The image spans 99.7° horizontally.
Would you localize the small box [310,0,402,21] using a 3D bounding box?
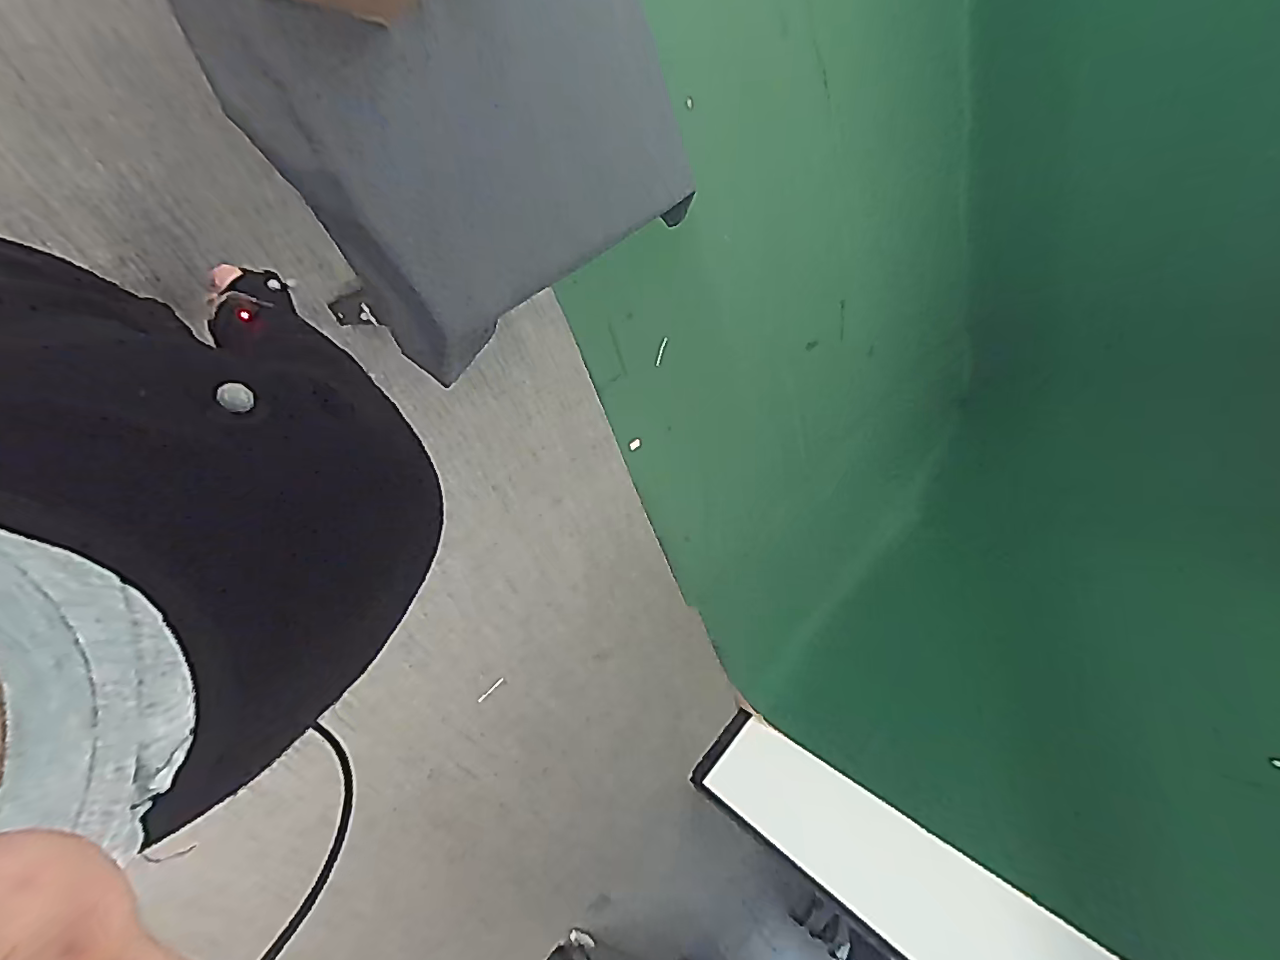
[{"bbox_3d":[-0.338,-0.627,0.566,0.179,0.176,0.168,-17,115,-39],"label":"small box"}]
